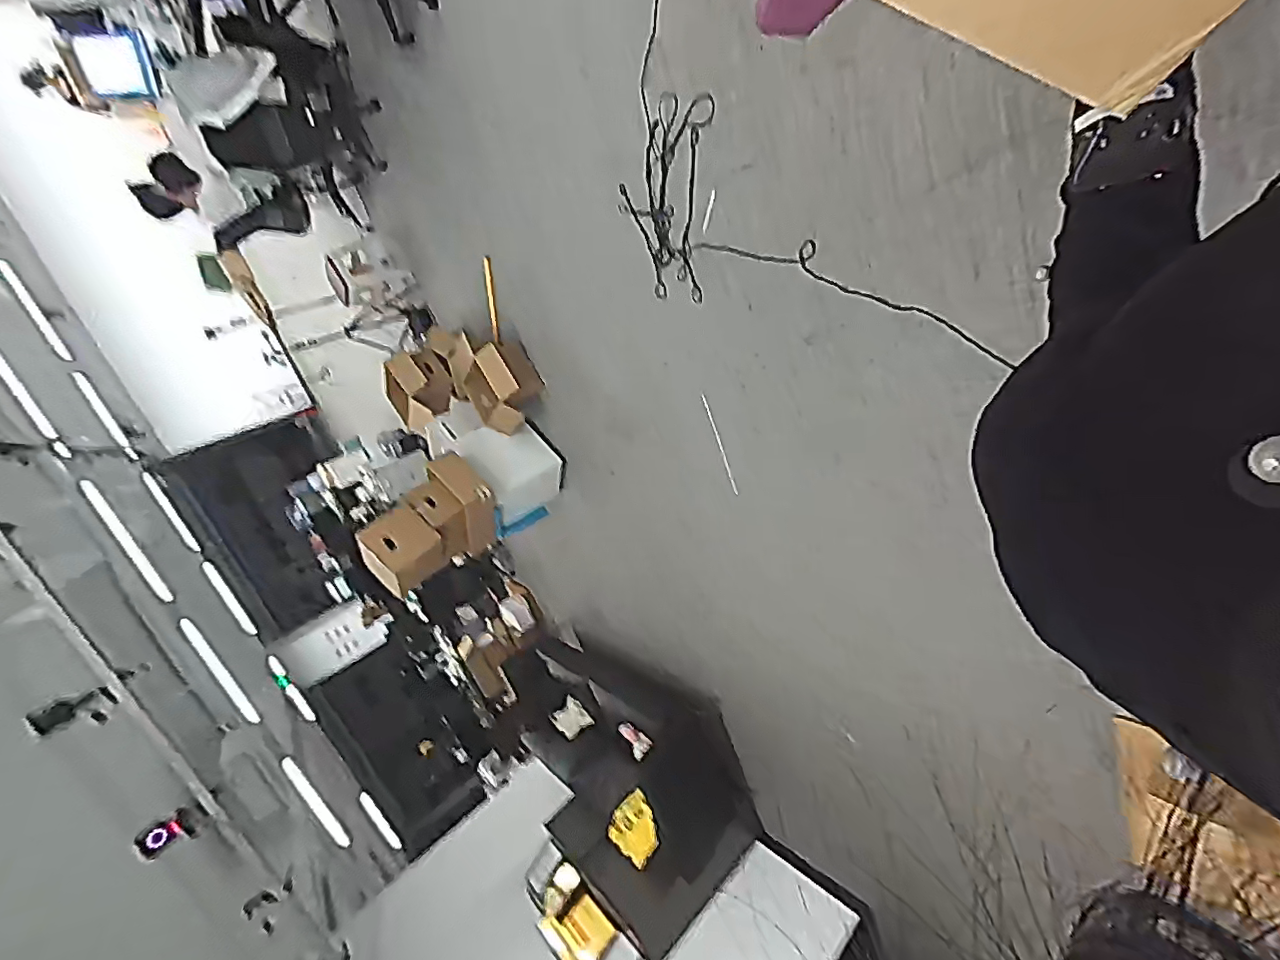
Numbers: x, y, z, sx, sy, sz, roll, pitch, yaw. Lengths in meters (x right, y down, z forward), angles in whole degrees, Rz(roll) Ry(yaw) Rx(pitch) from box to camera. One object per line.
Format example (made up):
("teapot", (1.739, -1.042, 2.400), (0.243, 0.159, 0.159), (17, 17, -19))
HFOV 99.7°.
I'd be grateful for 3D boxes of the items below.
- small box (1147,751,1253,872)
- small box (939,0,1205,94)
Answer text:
("small box", (1.475, 0.863, 1.425), (0.168, 0.176, 0.179), (14, 128, 51))
("small box", (0.223, -0.326, 0.227), (0.168, 0.179, 0.176), (29, 158, 2))
